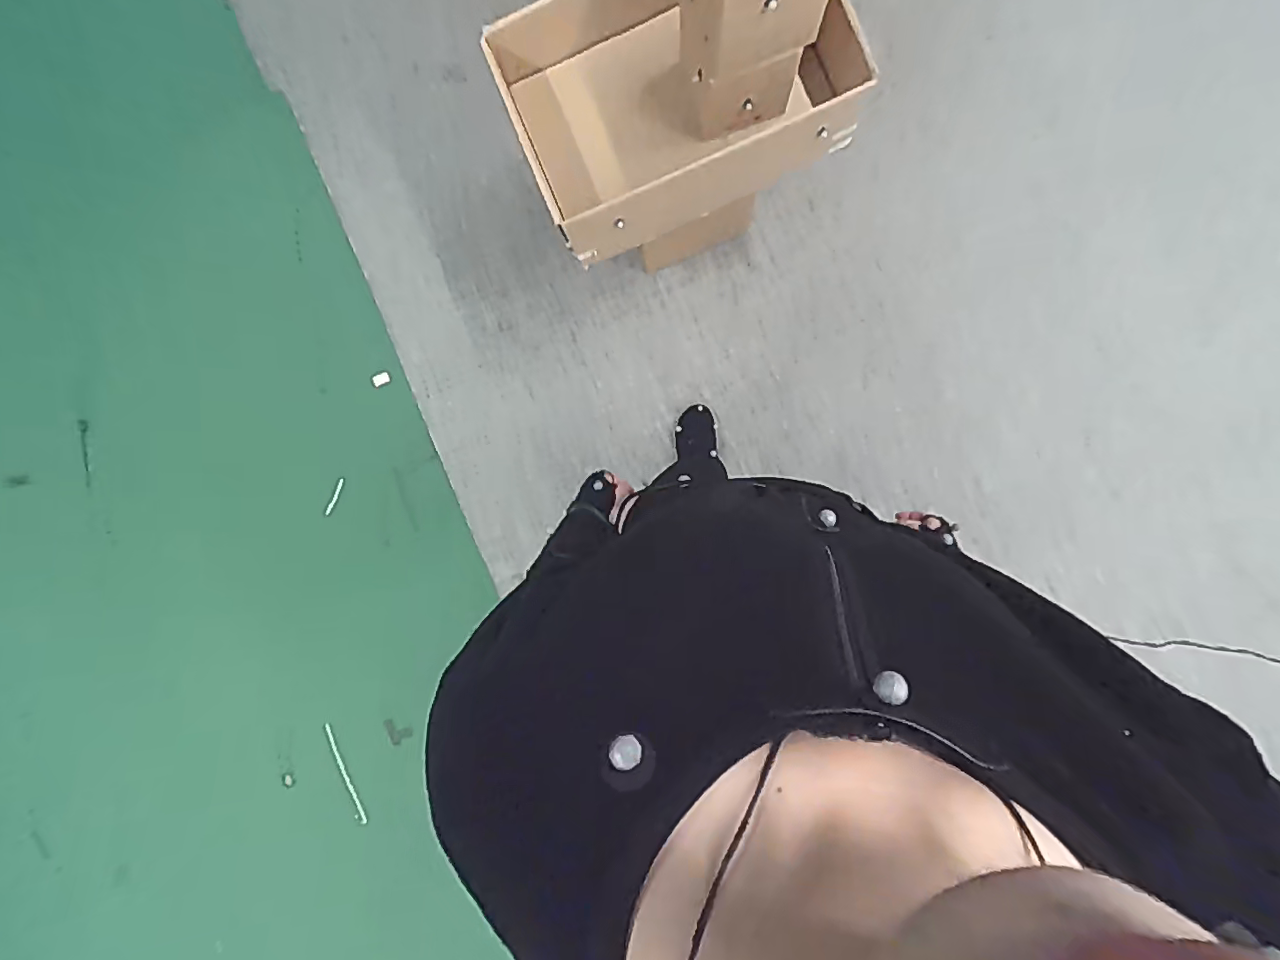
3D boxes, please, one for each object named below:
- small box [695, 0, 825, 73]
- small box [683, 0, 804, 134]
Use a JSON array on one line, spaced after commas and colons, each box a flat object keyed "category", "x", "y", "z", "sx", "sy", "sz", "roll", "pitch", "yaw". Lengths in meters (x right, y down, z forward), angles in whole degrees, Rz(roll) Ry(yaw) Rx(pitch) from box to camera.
[{"category": "small box", "x": 0.182, "y": -0.776, "z": 0.824, "sx": 0.179, "sy": 0.176, "sz": 0.168, "roll": -19, "pitch": 89, "yaw": 4}, {"category": "small box", "x": 0.182, "y": -0.774, "z": 0.989, "sx": 0.168, "sy": 0.176, "sz": 0.179, "roll": -17, "pitch": 89, "yaw": 4}]
